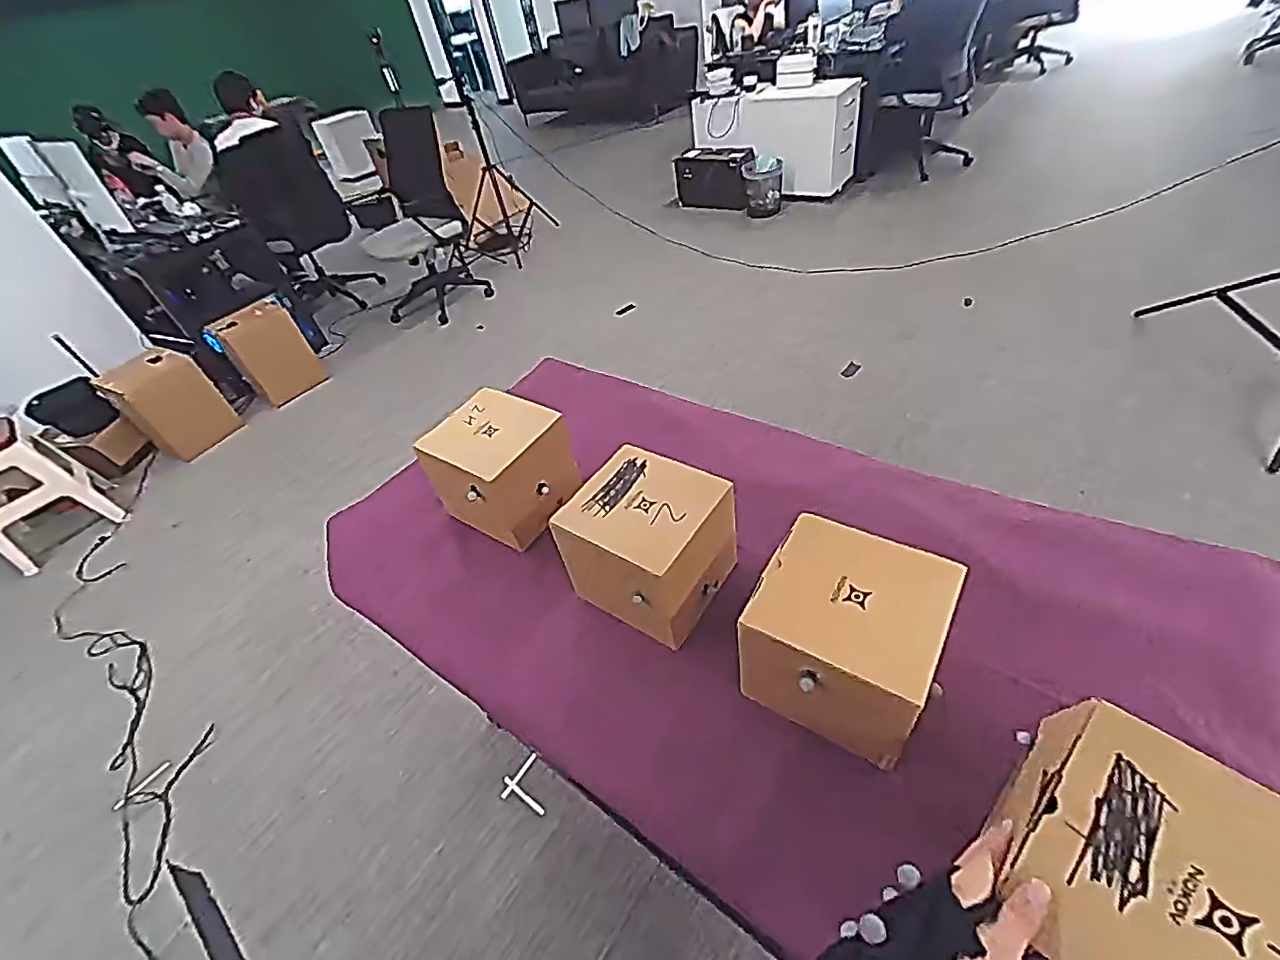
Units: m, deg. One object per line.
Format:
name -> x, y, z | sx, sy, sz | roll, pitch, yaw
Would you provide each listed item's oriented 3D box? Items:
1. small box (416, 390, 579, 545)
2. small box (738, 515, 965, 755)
small box -> -0.223, -0.018, 0.894 | 0.179, 0.176, 0.168 | 21, 52, 27
small box -> 0.226, 0.174, 0.601 | 0.179, 0.176, 0.168 | 20, 52, 30
